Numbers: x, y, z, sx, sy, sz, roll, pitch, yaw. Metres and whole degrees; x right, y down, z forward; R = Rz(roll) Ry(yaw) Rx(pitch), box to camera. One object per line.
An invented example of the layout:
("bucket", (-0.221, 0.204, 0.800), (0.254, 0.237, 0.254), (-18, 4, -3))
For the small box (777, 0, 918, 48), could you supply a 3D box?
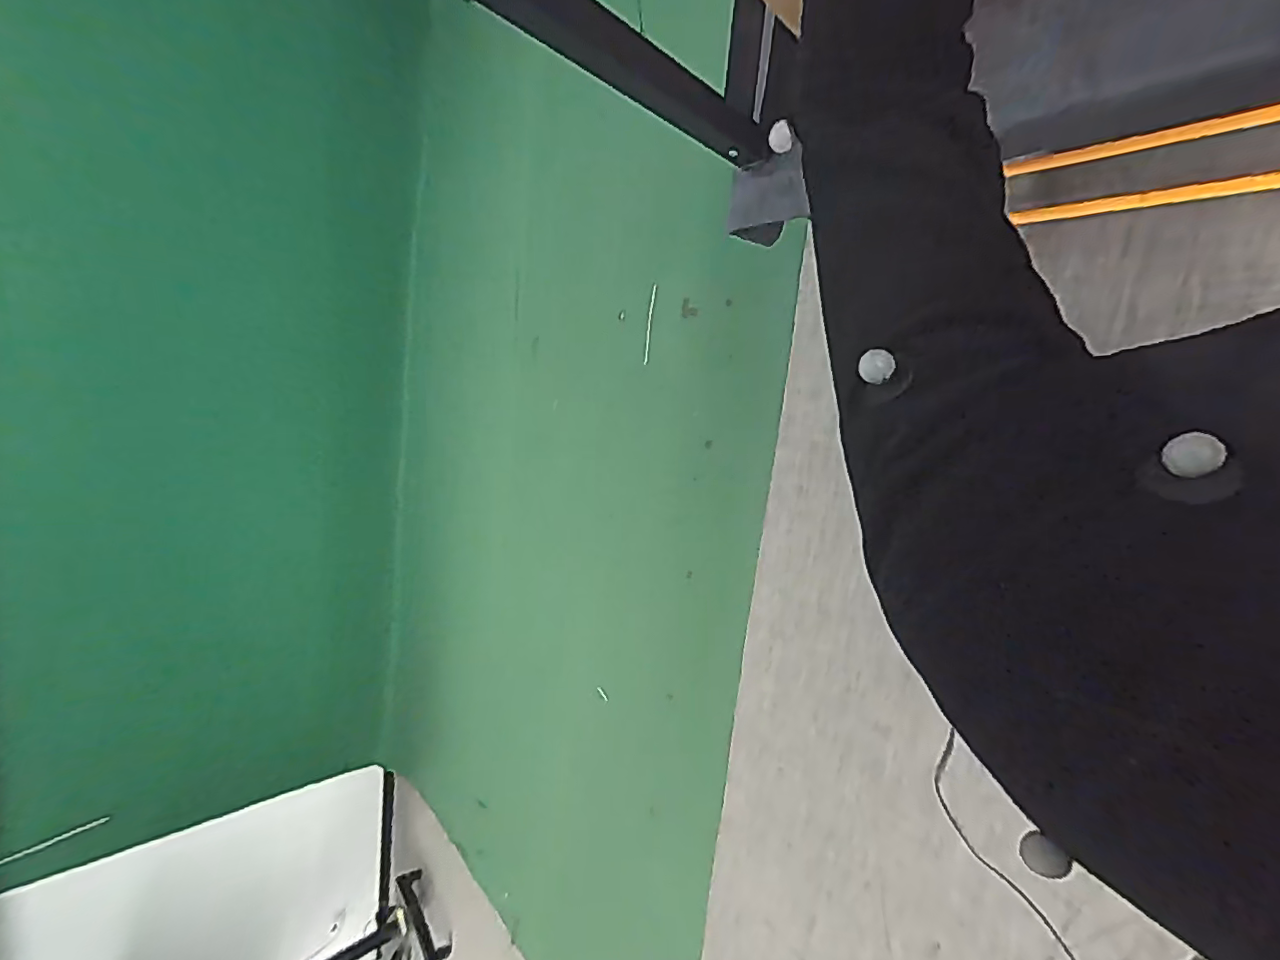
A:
("small box", (0.282, -0.749, 0.734), (0.168, 0.176, 0.179), (15, 102, 46))
